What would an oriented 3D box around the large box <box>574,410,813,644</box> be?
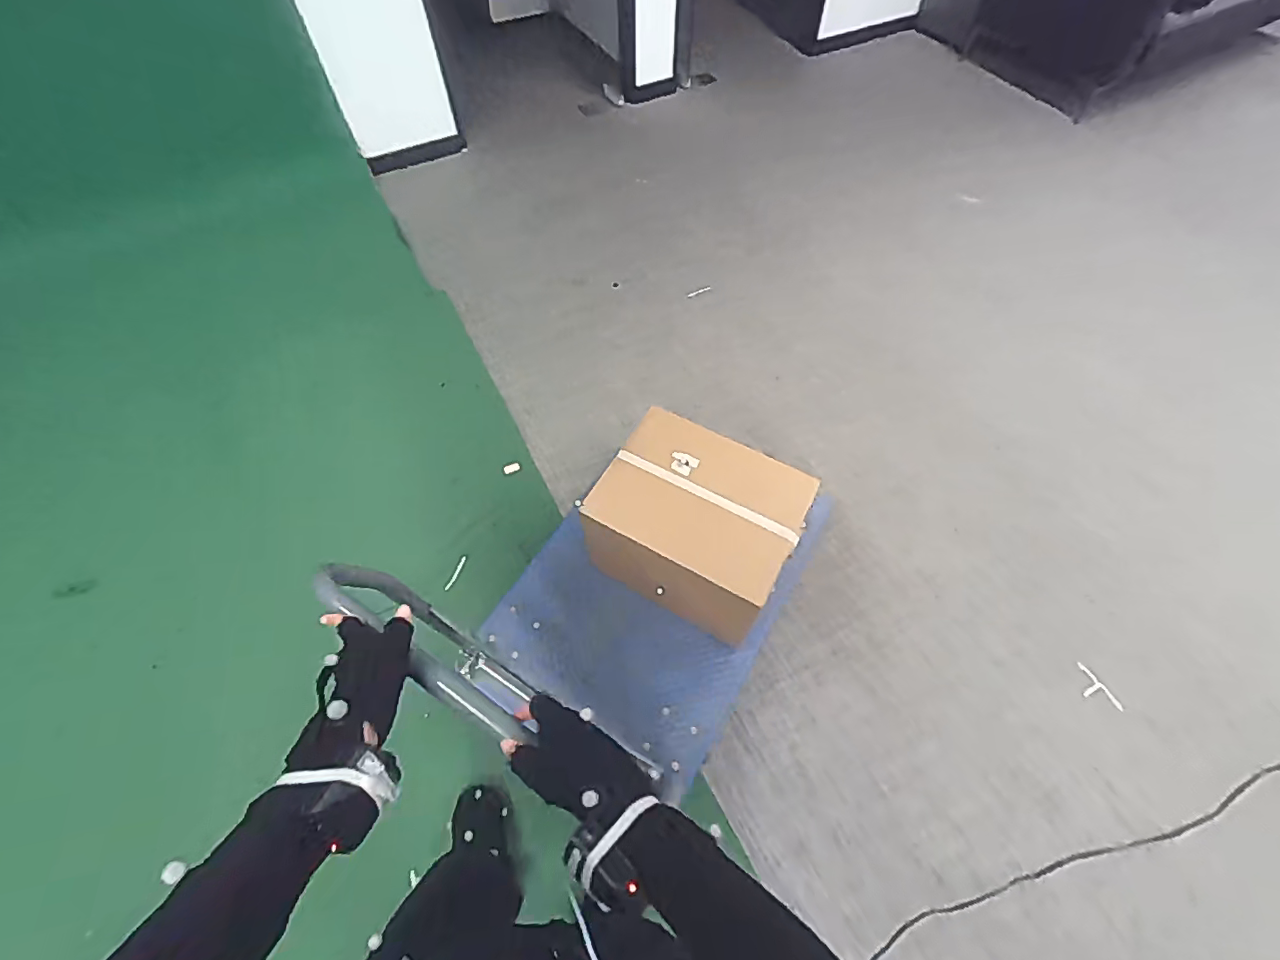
[{"bbox_3d":[0.117,0.112,1.229,0.408,0.320,0.320,27,62,16],"label":"large box"}]
